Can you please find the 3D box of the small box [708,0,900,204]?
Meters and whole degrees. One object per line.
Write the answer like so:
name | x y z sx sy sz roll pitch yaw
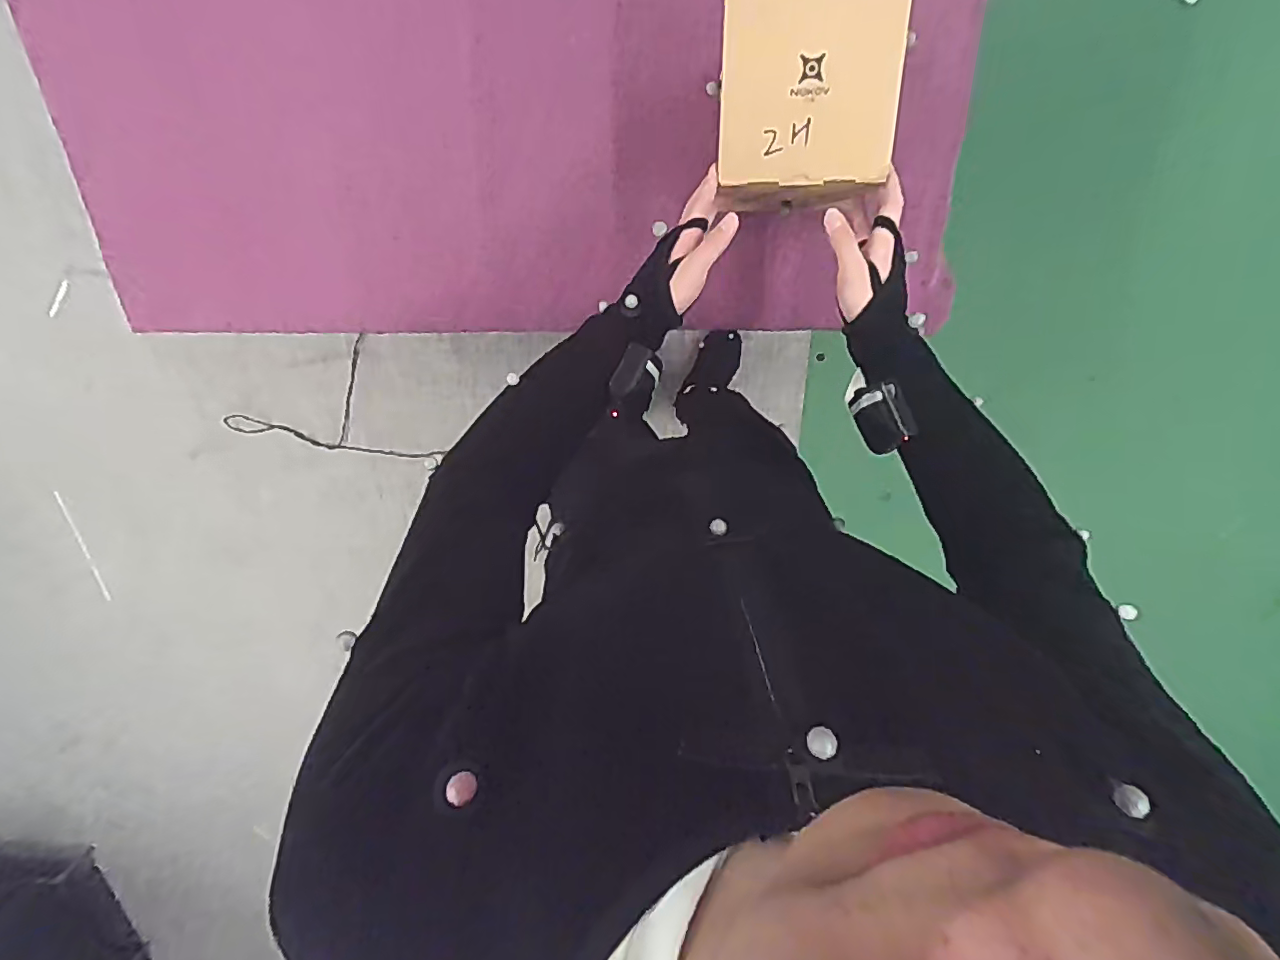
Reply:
small box | 0.163 -0.408 0.585 0.168 0.176 0.179 4 110 9
